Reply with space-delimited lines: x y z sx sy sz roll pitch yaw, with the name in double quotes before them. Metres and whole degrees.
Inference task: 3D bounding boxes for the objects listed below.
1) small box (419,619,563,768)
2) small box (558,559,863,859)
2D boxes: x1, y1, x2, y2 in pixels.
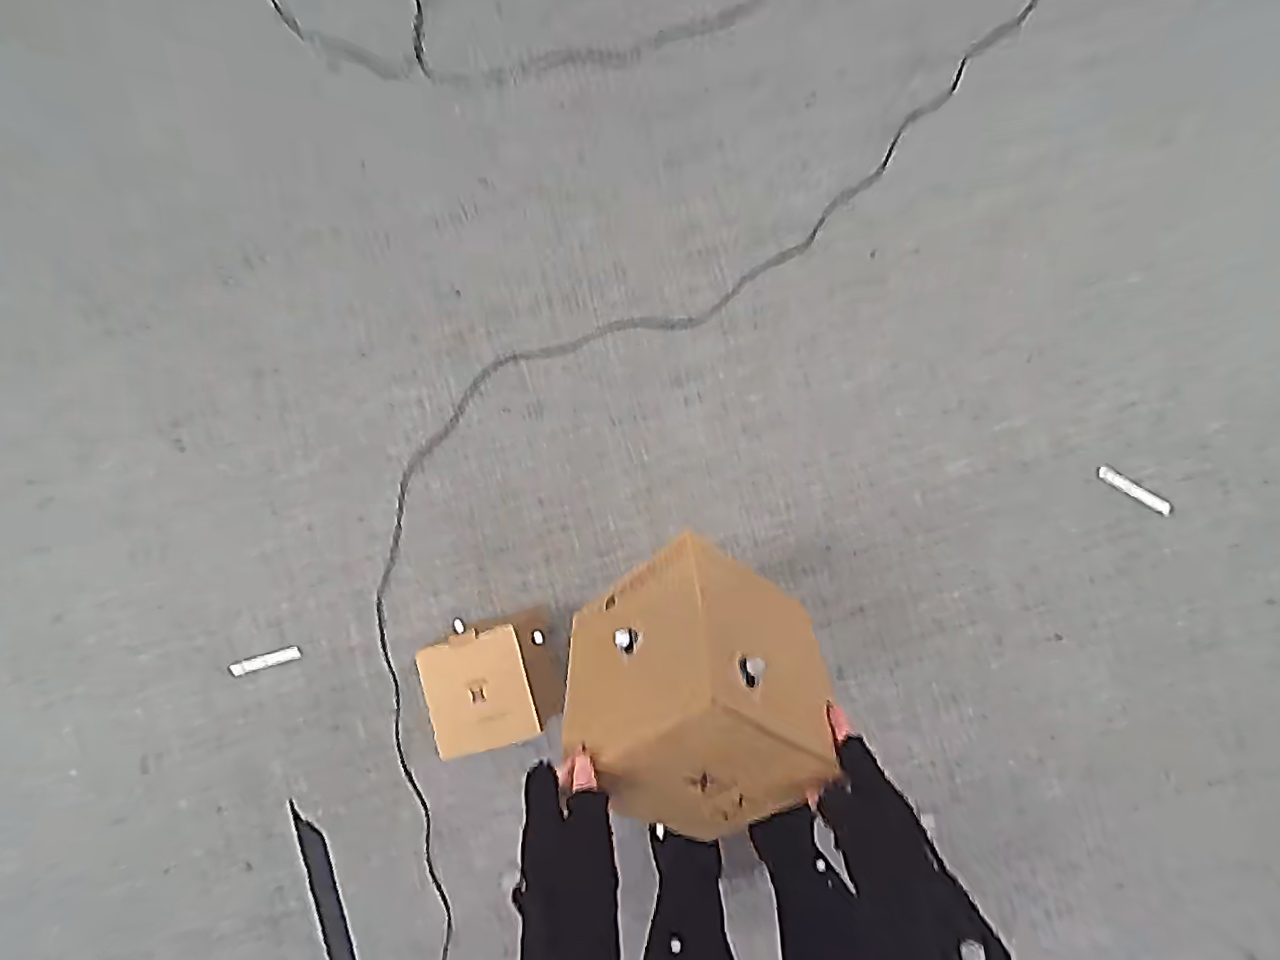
"small box" -0.242 0.346 0.915 0.168 0.176 0.179 -16 87 3
"small box" 0.052 0.194 0.471 0.179 0.176 0.168 35 120 -26
